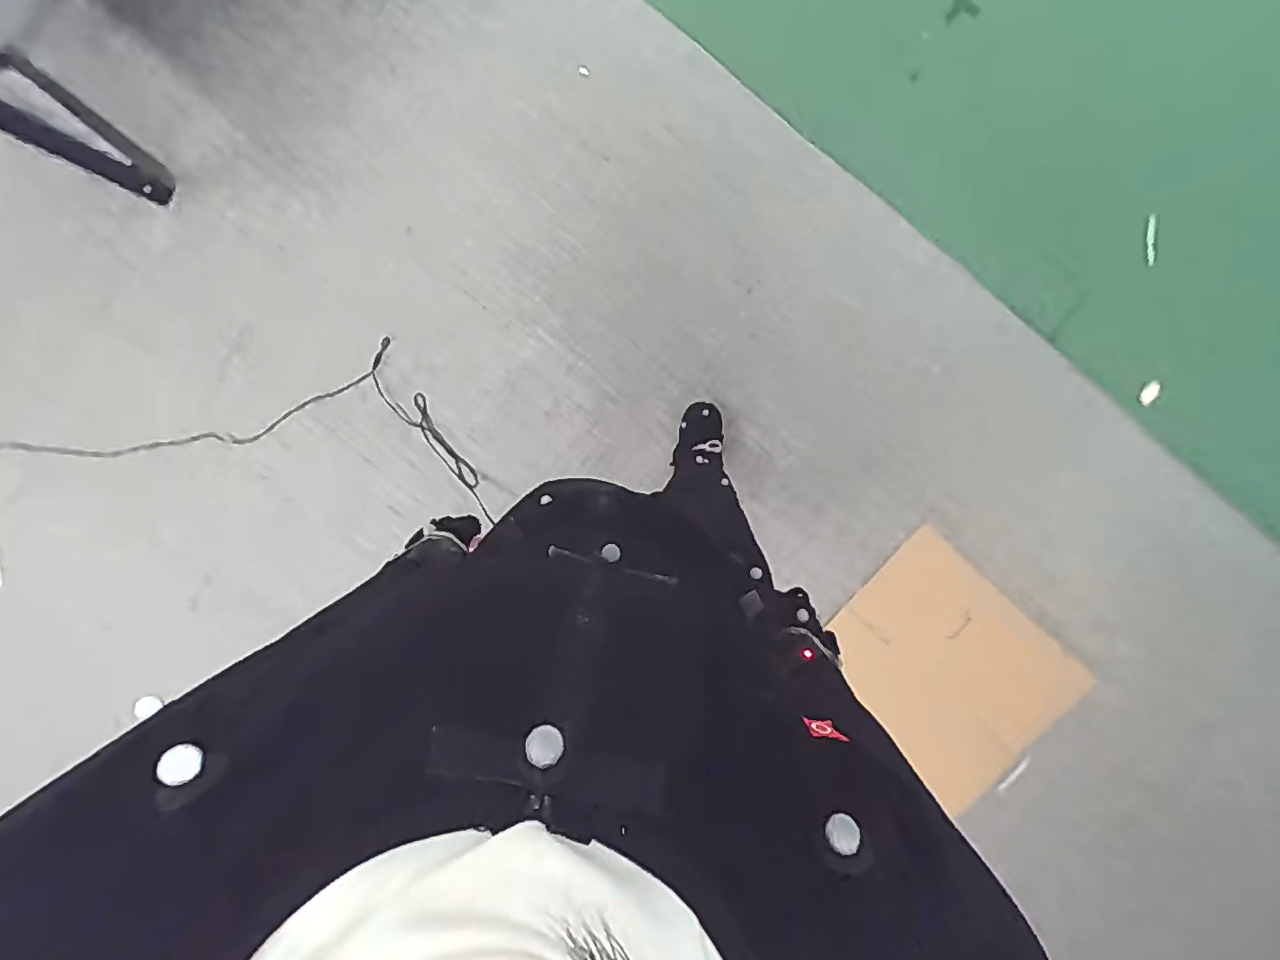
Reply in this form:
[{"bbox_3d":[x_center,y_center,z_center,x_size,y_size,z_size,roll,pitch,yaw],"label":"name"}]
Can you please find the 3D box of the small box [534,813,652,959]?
[{"bbox_3d":[-0.086,0.813,1.083,0.179,0.176,0.168,-25,93,5],"label":"small box"}]
